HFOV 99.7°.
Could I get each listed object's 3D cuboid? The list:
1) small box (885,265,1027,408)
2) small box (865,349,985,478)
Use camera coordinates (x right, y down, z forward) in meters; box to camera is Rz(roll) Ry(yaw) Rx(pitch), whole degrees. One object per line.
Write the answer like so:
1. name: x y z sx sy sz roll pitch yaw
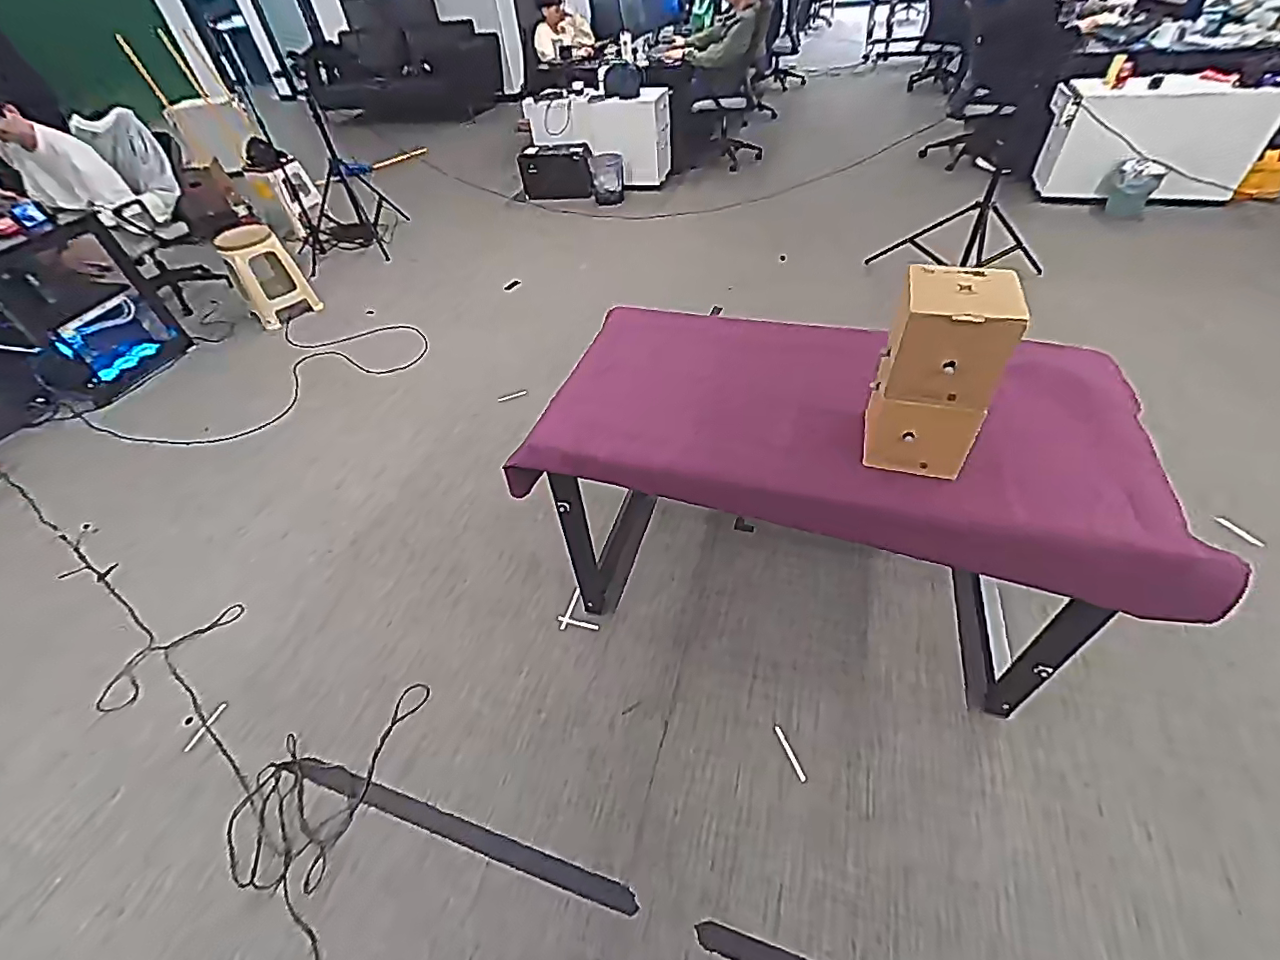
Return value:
1. small box: 0.526 -0.244 0.923 0.168 0.176 0.179 11 48 16
2. small box: 0.536 -0.127 1.037 0.168 0.176 0.179 10 47 16
